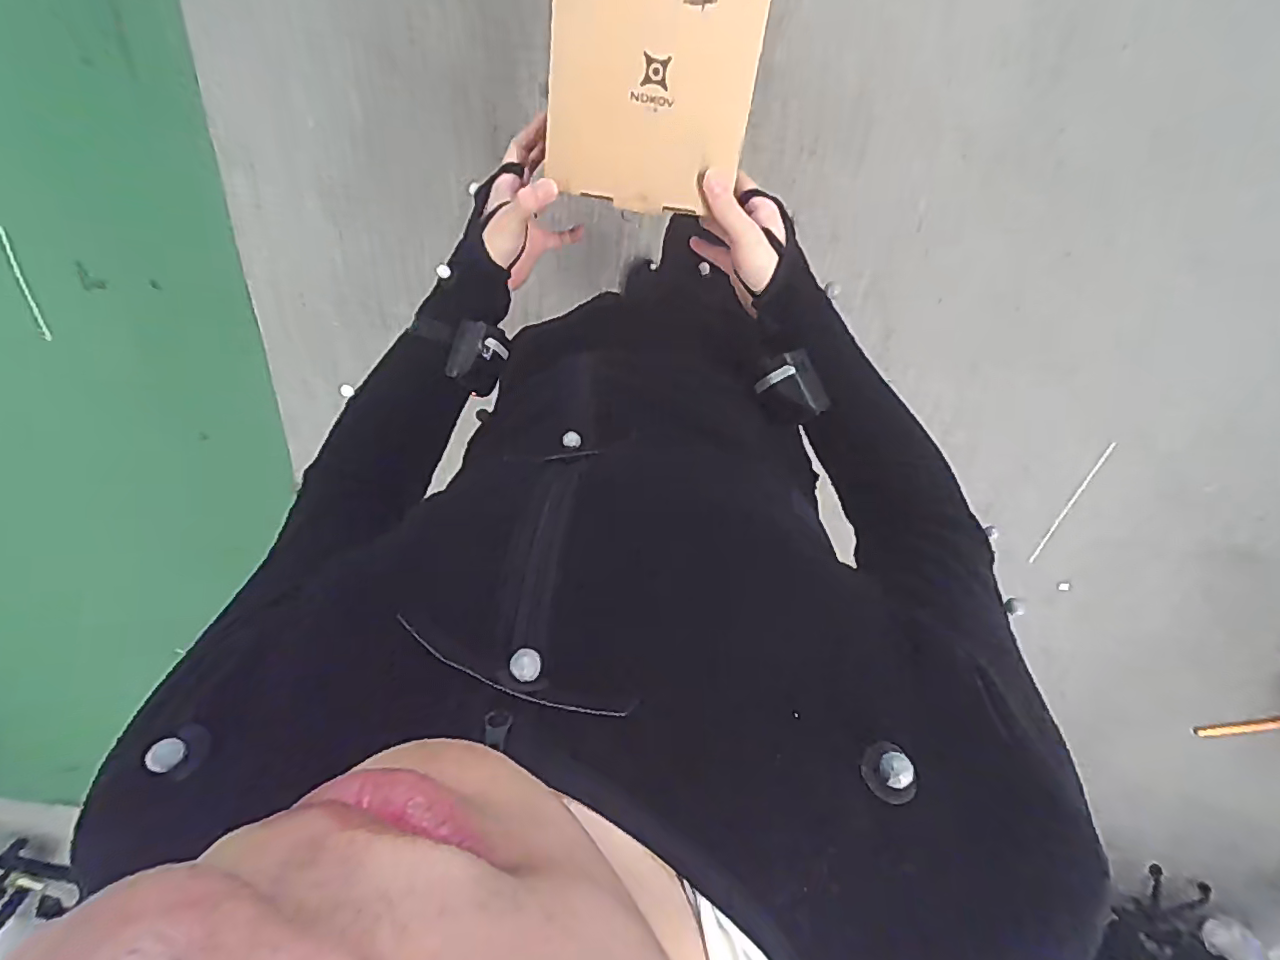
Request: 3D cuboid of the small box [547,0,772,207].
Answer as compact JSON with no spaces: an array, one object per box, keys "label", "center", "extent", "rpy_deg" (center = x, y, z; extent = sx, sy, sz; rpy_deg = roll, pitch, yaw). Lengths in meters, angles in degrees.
[{"label":"small box","center":[0.006,-0.367,0.503],"extent":[0.168,0.176,0.179],"rpy_deg":[4,119,-9]}]
